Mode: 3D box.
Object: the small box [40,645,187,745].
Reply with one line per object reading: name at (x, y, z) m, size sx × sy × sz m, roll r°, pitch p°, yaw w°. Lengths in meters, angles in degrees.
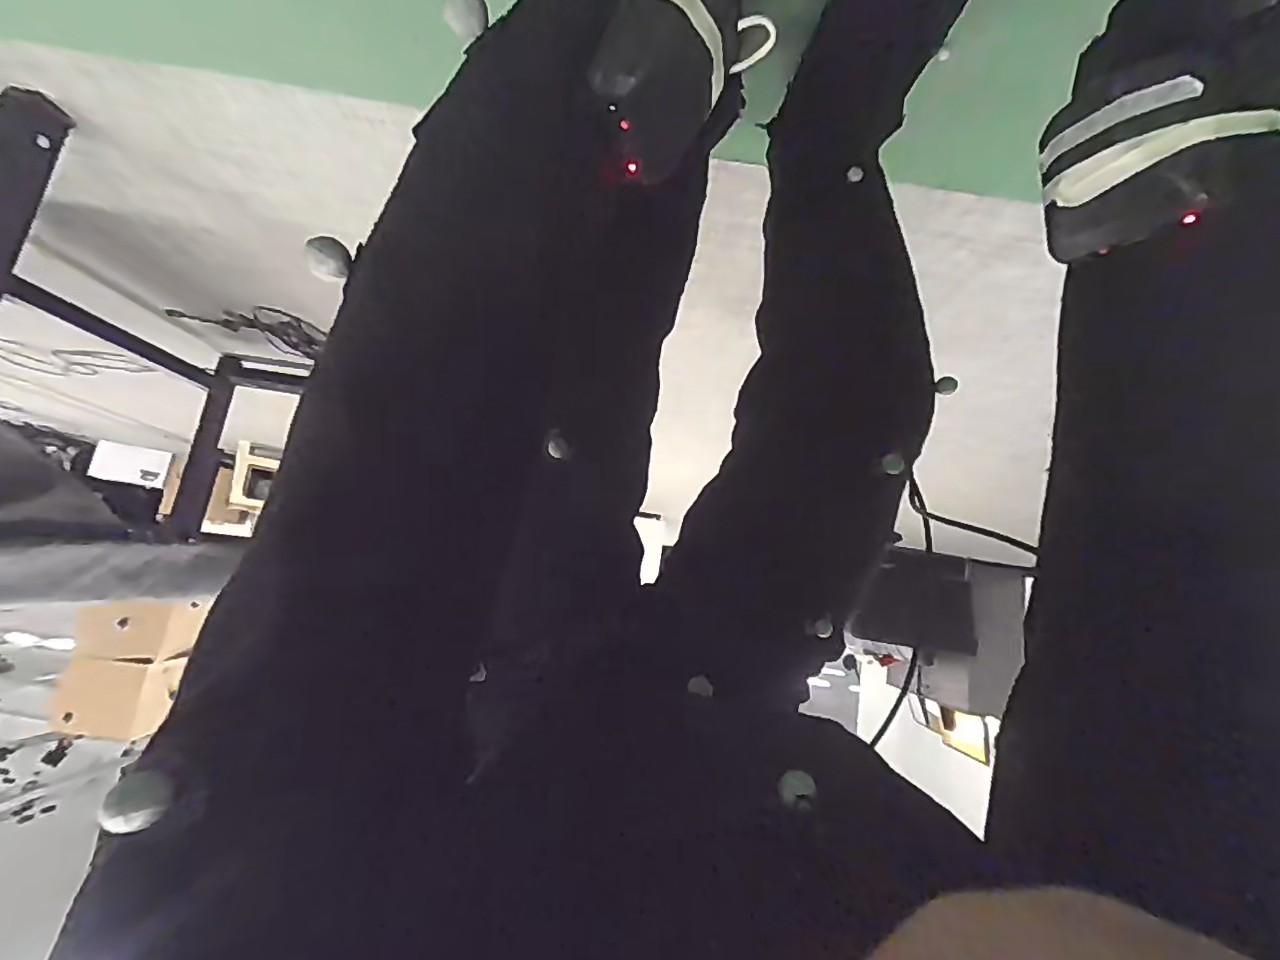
small box at (-1.200, 0.489, 1.252) m, size 0.179 × 0.176 × 0.168 m, roll 9°, pitch 170°, yaw -3°
